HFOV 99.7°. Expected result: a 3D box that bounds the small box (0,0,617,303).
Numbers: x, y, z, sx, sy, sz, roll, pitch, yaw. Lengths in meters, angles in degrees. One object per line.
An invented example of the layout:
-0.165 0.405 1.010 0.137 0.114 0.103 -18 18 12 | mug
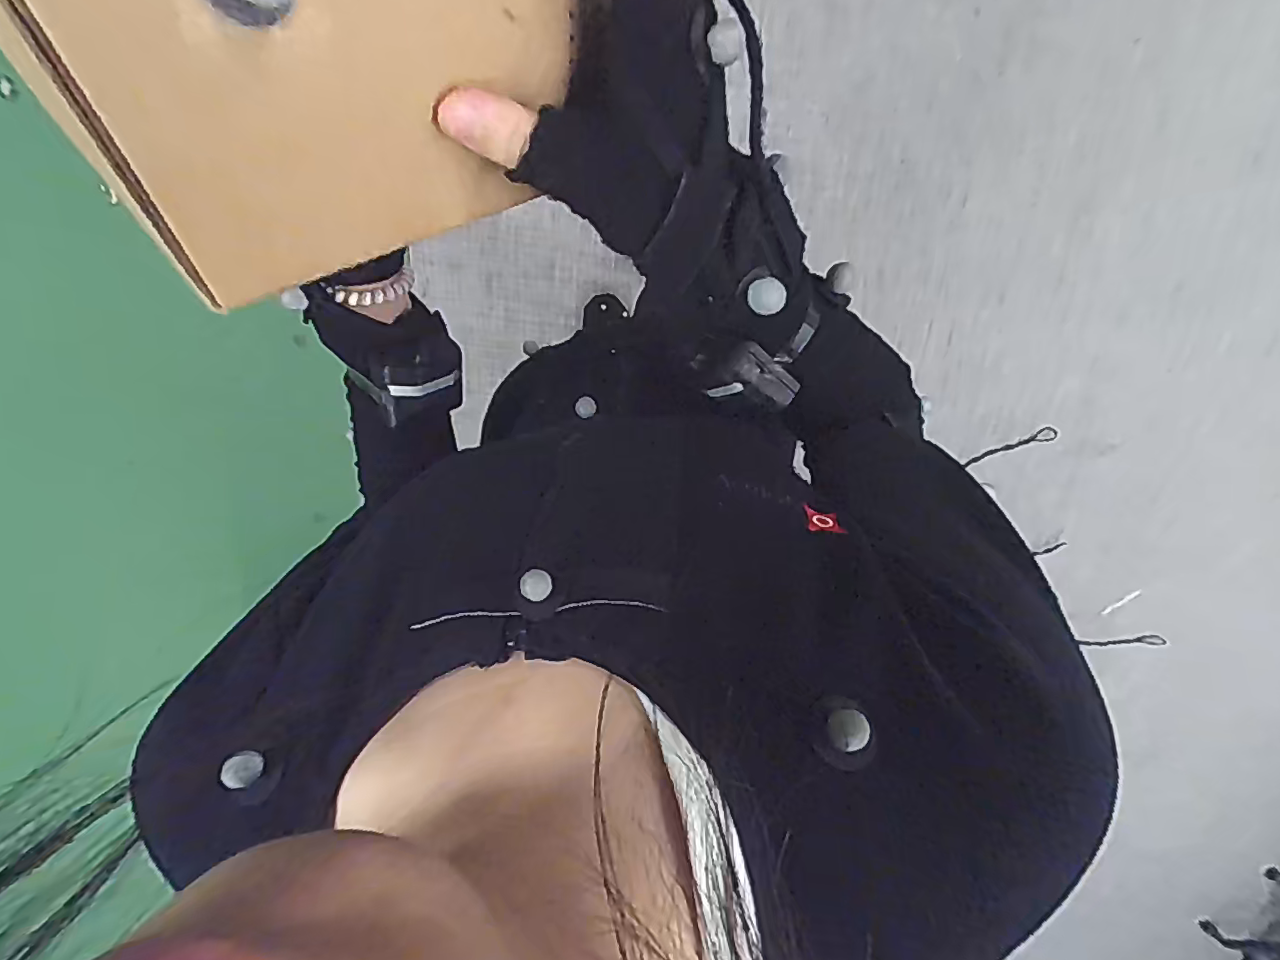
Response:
-0.116 -0.197 0.169 0.168 0.176 0.179 41 150 21 | small box
